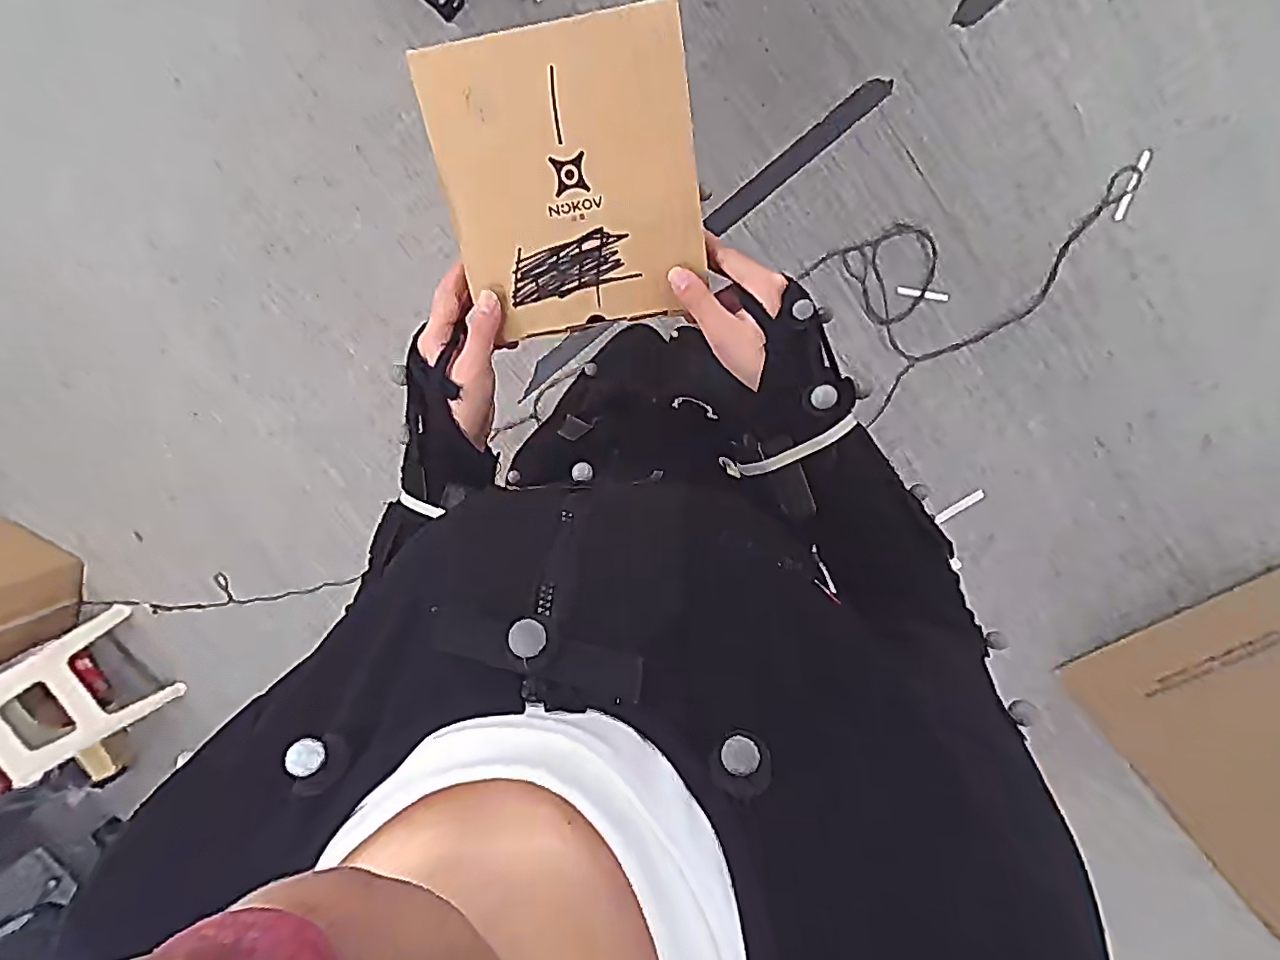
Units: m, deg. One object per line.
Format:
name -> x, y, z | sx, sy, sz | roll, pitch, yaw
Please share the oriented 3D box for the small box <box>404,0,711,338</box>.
small box -> -0.042, -0.219, 0.409 | 0.168, 0.176, 0.179 | -8, 113, 3
